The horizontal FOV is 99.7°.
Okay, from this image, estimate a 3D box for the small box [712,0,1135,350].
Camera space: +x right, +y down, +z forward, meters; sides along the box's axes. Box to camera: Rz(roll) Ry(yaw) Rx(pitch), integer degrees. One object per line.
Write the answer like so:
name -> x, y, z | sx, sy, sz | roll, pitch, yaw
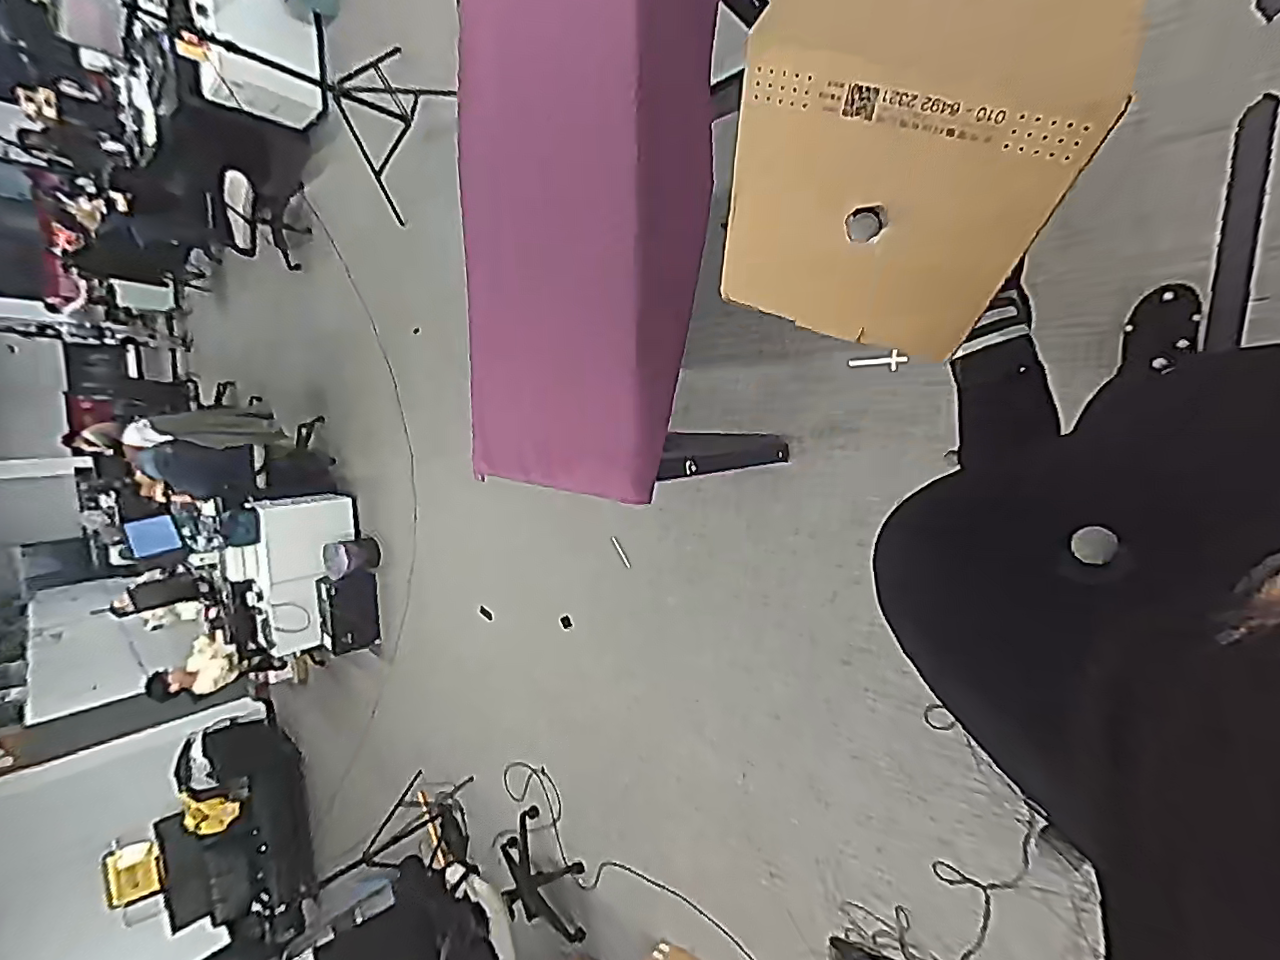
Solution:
small box -> 0.154, -0.218, 0.330 | 0.168, 0.179, 0.176 | 23, 156, 15
